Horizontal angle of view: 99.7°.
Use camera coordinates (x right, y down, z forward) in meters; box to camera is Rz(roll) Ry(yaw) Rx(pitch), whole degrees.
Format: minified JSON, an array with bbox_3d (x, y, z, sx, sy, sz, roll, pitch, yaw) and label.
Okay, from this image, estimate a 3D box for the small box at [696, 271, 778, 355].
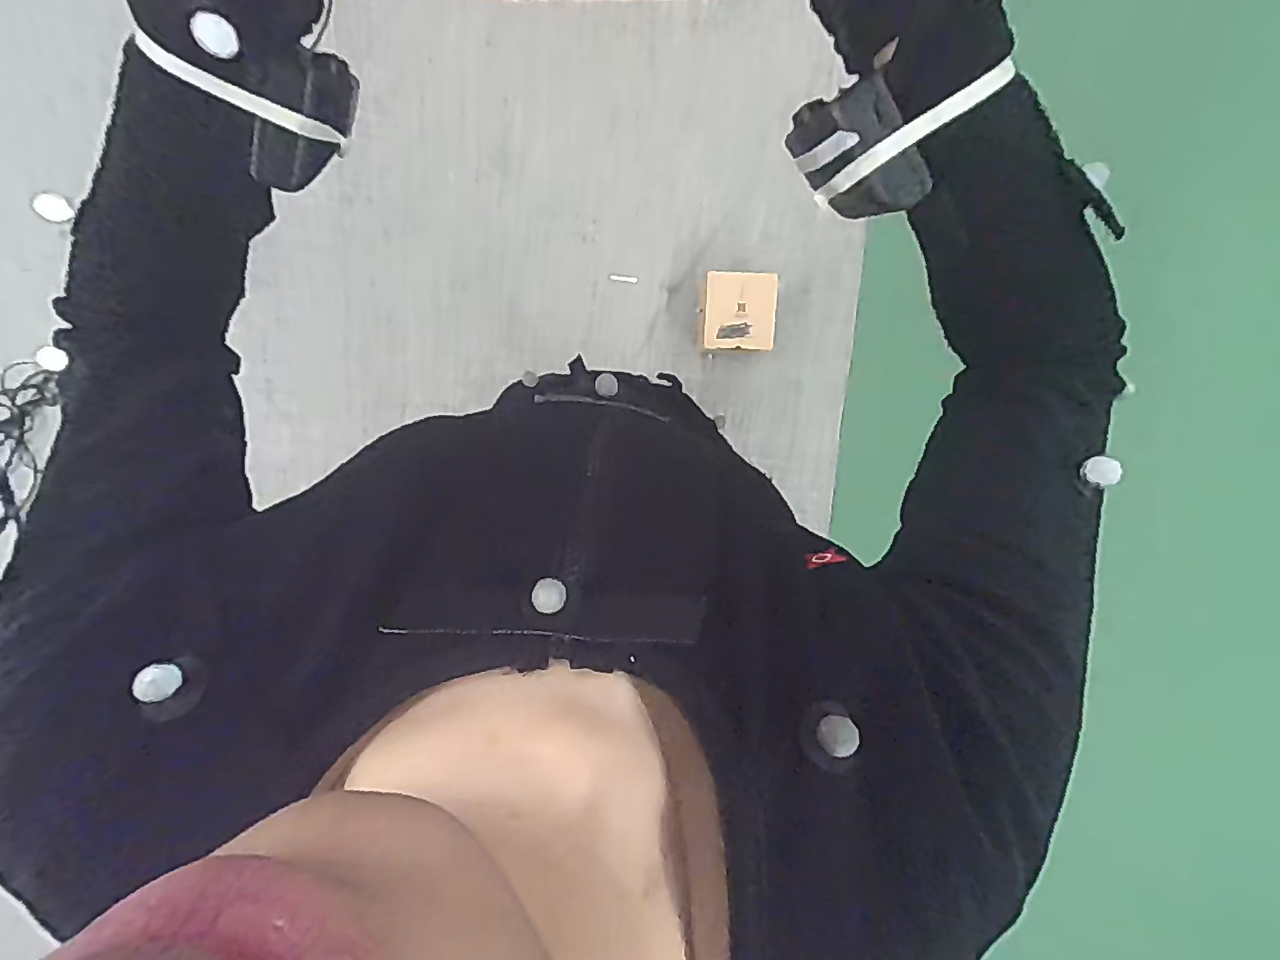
[{"bbox_3d":[0.230,-0.402,1.325,0.168,0.176,0.179,2,99,-1],"label":"small box"}]
